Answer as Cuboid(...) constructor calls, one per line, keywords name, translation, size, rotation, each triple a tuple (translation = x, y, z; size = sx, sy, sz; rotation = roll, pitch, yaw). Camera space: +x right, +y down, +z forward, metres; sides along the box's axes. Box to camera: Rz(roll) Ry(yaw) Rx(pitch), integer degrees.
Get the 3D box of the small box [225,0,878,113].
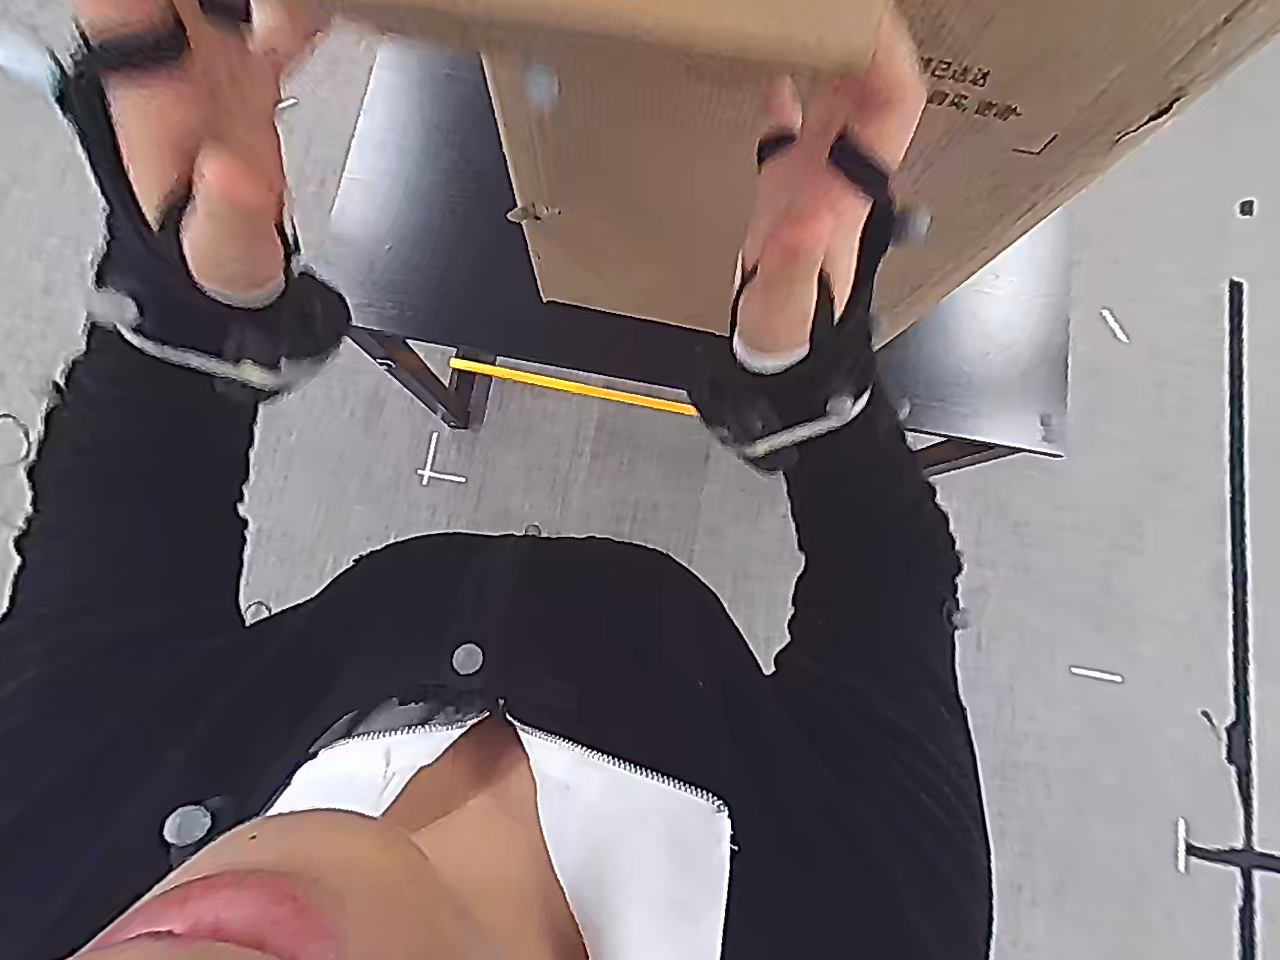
Cuboid(name="small box", translation=(-0.022, -0.218, 0.148), size=(0.168, 0.176, 0.179), rotation=(4, 123, -6))
